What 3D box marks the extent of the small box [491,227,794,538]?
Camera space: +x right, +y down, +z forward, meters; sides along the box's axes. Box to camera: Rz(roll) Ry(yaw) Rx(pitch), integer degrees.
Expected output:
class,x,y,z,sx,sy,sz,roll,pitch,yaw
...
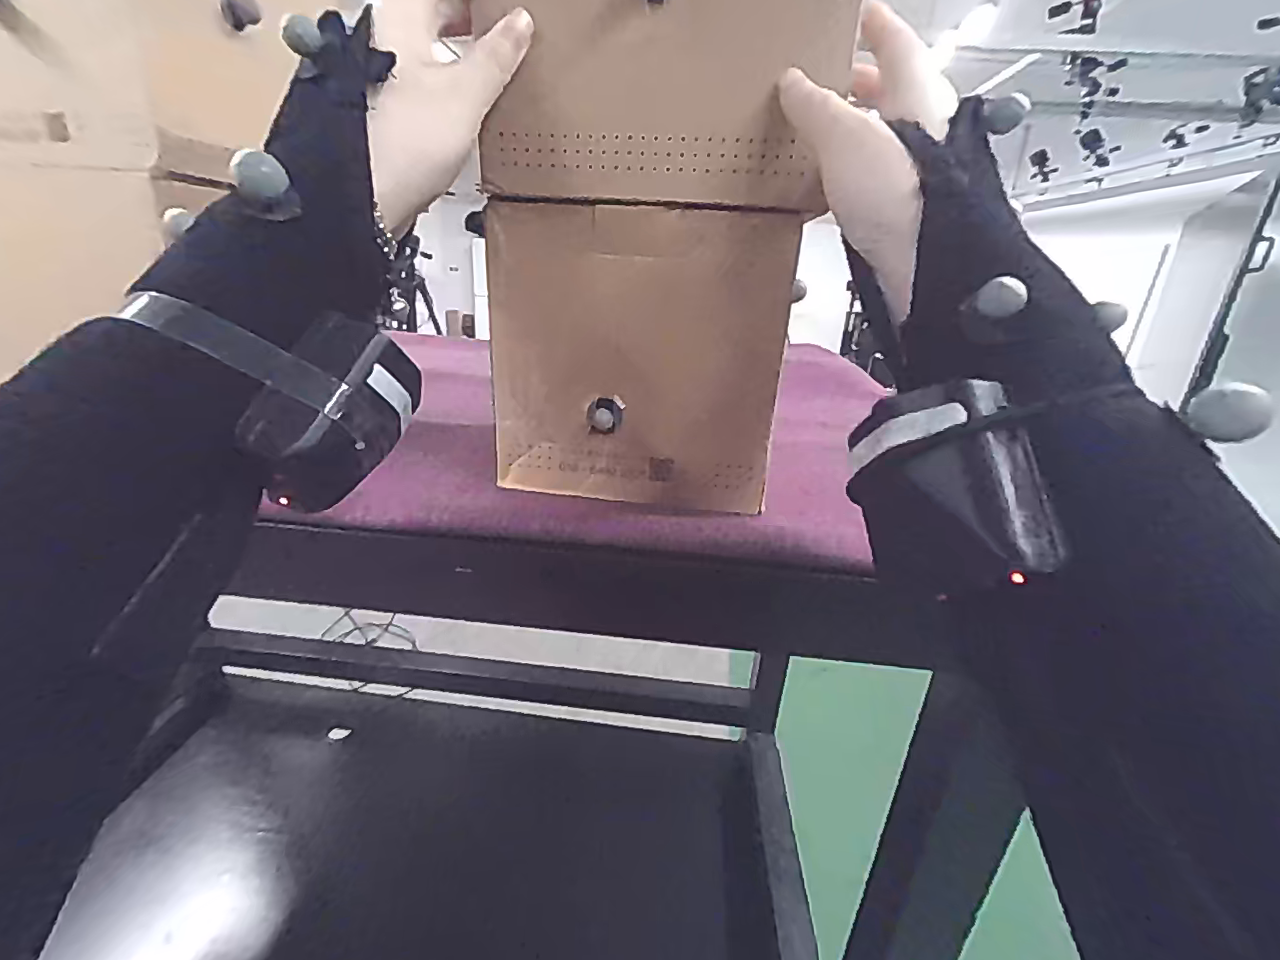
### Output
class,x,y,z,sx,sy,sz,roll,pitch,yaw
small box,0.005,-0.078,0.386,0.168,0.176,0.179,6,23,7
